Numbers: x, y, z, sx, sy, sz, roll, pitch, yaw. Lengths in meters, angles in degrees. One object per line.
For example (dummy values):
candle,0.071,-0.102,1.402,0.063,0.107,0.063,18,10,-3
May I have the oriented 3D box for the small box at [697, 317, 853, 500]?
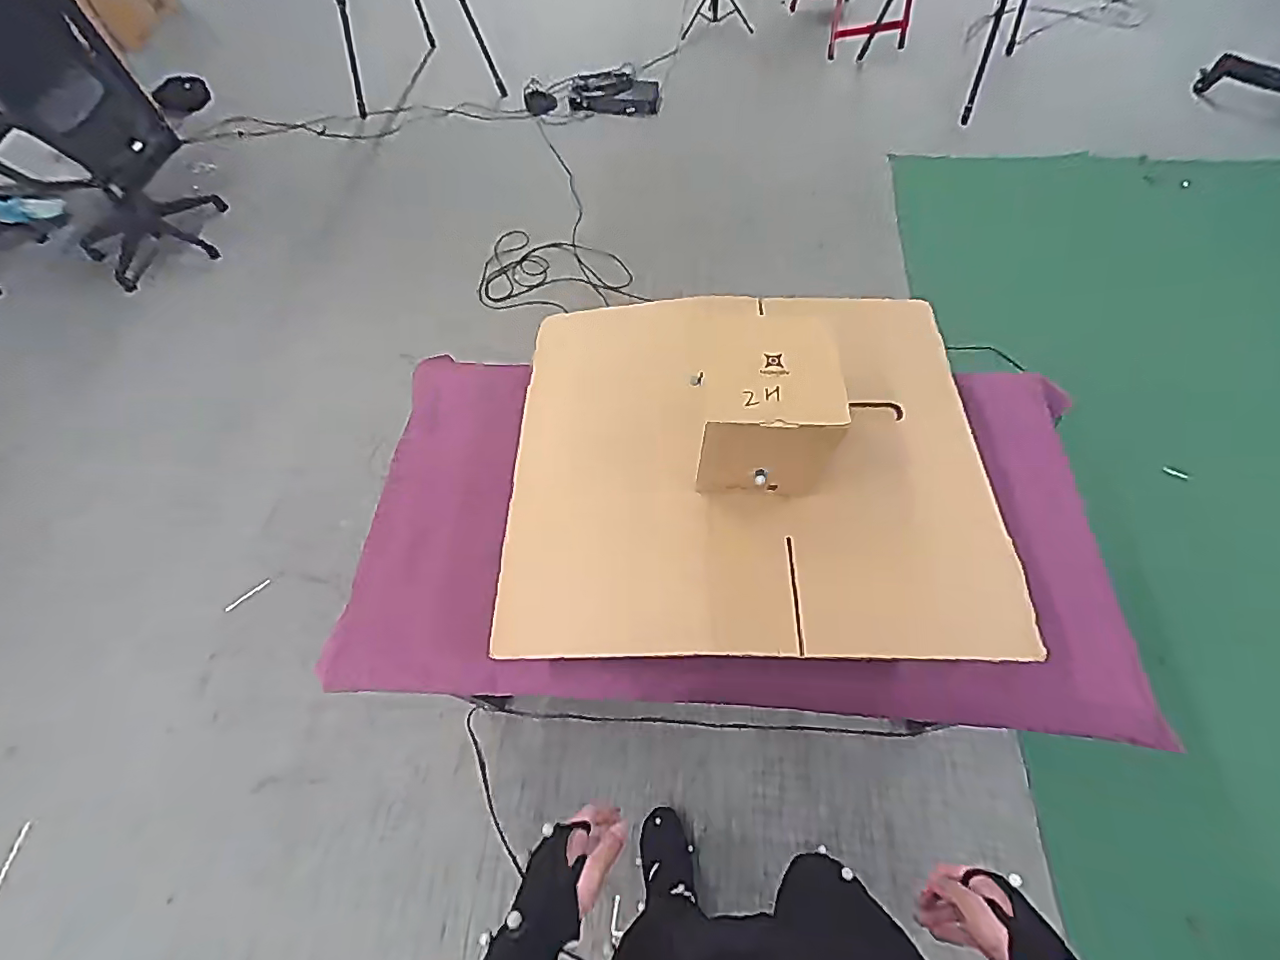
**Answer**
small box,0.164,-0.091,0.722,0.168,0.176,0.179,2,61,2
